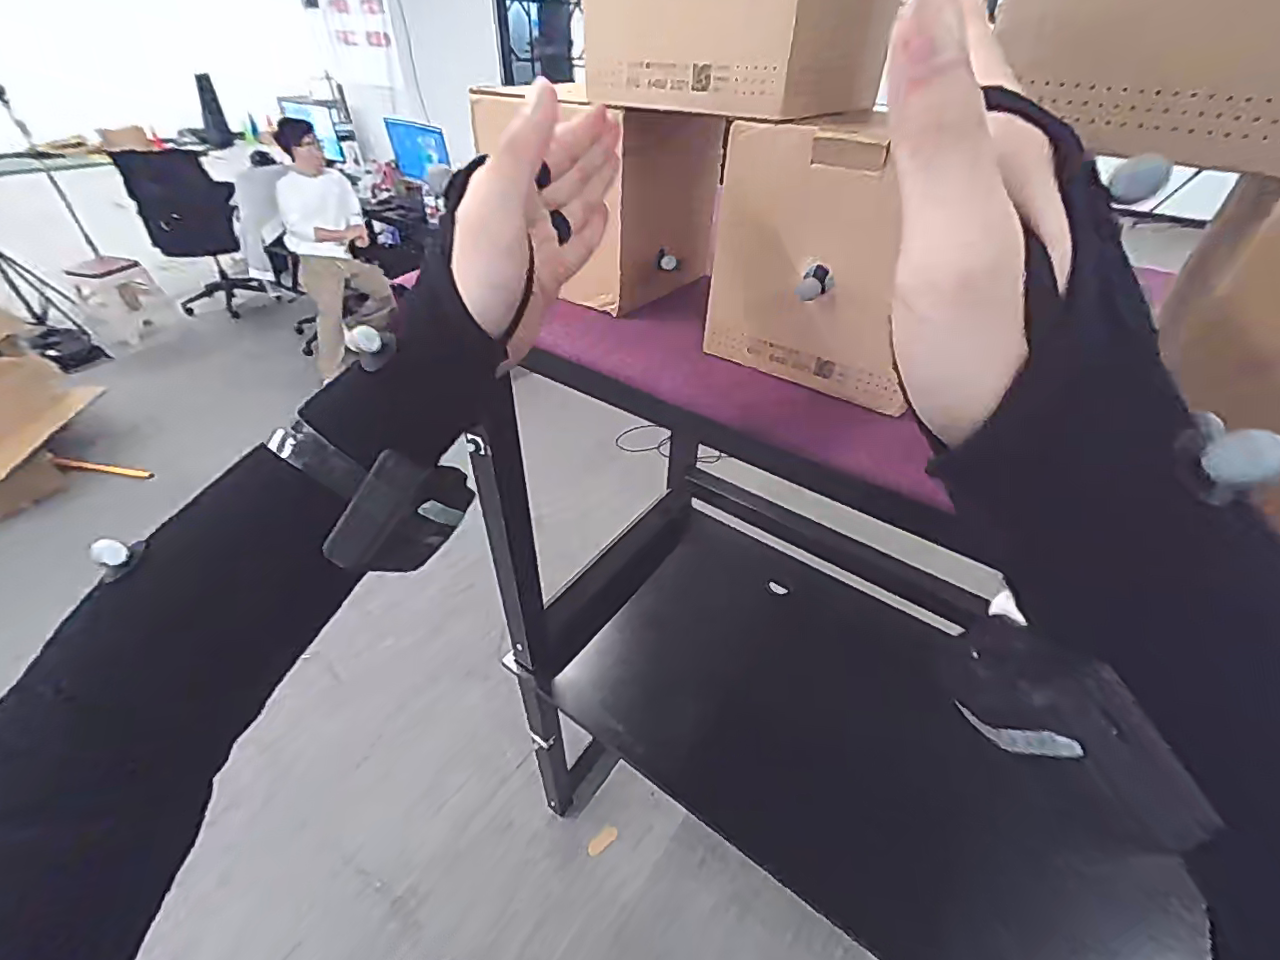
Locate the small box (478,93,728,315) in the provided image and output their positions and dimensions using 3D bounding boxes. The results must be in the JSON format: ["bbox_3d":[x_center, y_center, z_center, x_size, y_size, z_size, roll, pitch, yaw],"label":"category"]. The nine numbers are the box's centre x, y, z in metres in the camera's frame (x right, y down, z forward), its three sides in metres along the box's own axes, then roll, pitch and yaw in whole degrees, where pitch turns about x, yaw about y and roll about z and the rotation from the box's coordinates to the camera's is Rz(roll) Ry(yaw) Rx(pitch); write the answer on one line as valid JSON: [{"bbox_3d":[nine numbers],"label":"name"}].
[{"bbox_3d":[-0.035,-0.284,0.549,0.179,0.176,0.168,26,44,26],"label":"small box"}]

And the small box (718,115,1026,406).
[{"bbox_3d":[0.175,-0.181,0.432,0.168,0.176,0.179,26,44,27],"label":"small box"}]

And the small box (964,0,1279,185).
[{"bbox_3d":[0.295,-0.256,0.270,0.179,0.176,0.168,26,43,24],"label":"small box"}]
